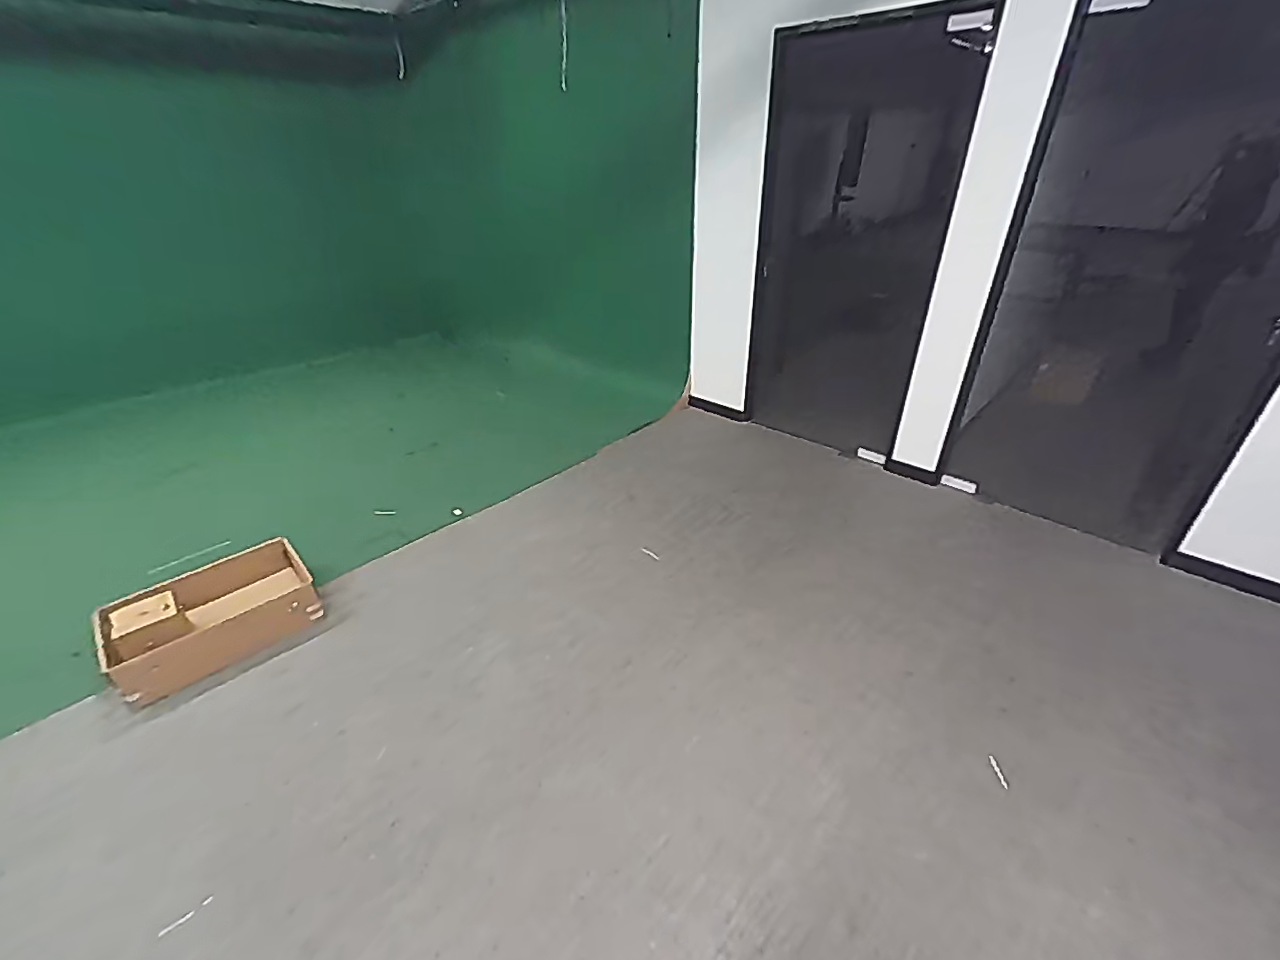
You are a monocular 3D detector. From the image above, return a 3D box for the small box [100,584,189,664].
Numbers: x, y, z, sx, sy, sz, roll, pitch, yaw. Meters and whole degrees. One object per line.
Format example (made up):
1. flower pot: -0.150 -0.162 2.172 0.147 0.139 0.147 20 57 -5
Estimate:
1. small box: -1.727 0.502 1.886 0.179 0.176 0.168 -26 41 -36
